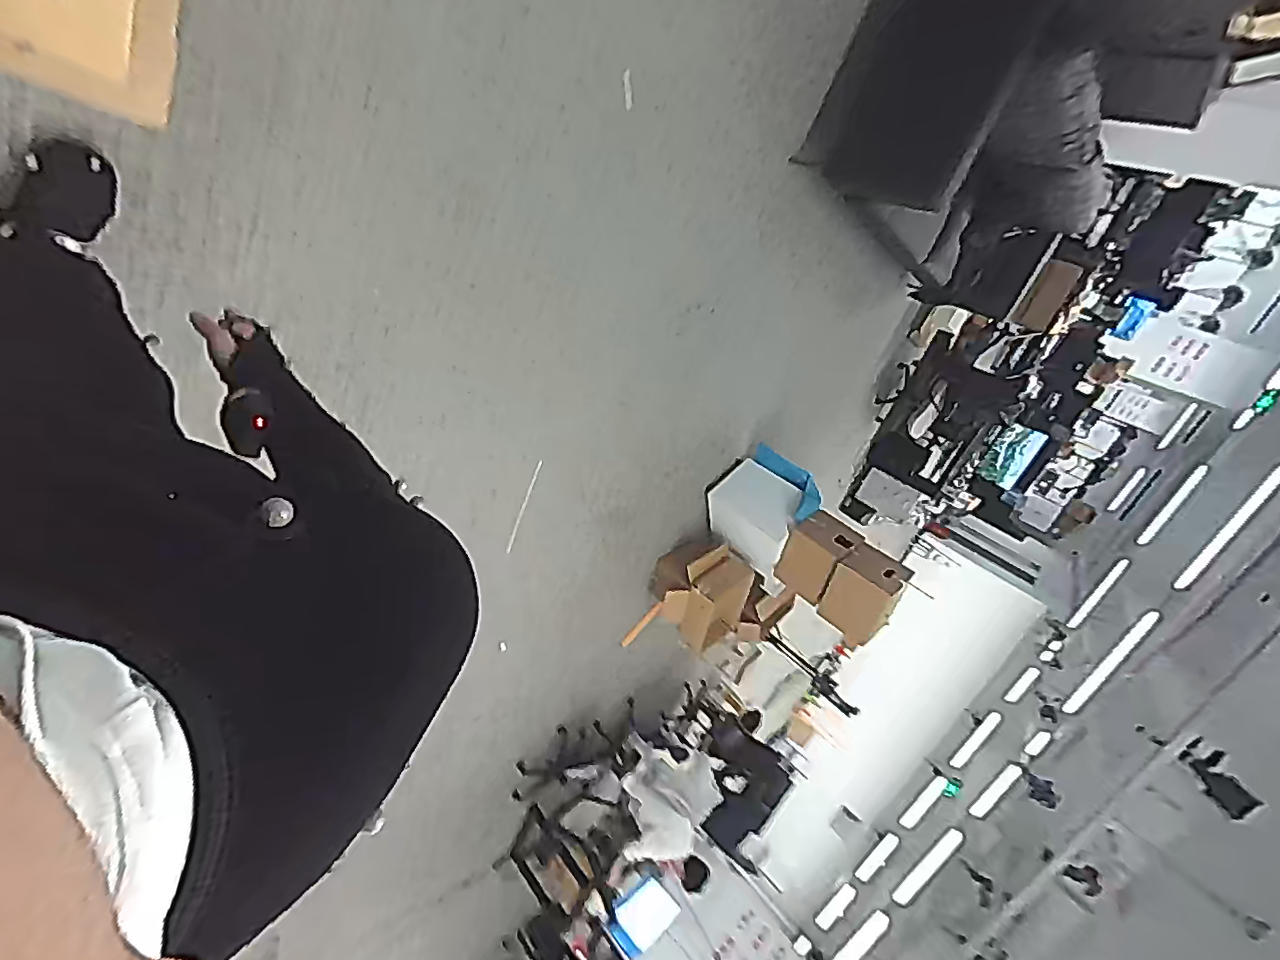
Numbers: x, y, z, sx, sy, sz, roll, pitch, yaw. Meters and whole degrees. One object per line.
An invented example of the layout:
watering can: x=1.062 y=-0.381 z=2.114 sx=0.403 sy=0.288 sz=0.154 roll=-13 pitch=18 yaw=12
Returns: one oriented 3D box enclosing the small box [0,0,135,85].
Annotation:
small box: x=-0.811 y=-0.676 z=0.724 sx=0.179 sy=0.176 sz=0.168 roll=0 pitch=121 yaw=-51
